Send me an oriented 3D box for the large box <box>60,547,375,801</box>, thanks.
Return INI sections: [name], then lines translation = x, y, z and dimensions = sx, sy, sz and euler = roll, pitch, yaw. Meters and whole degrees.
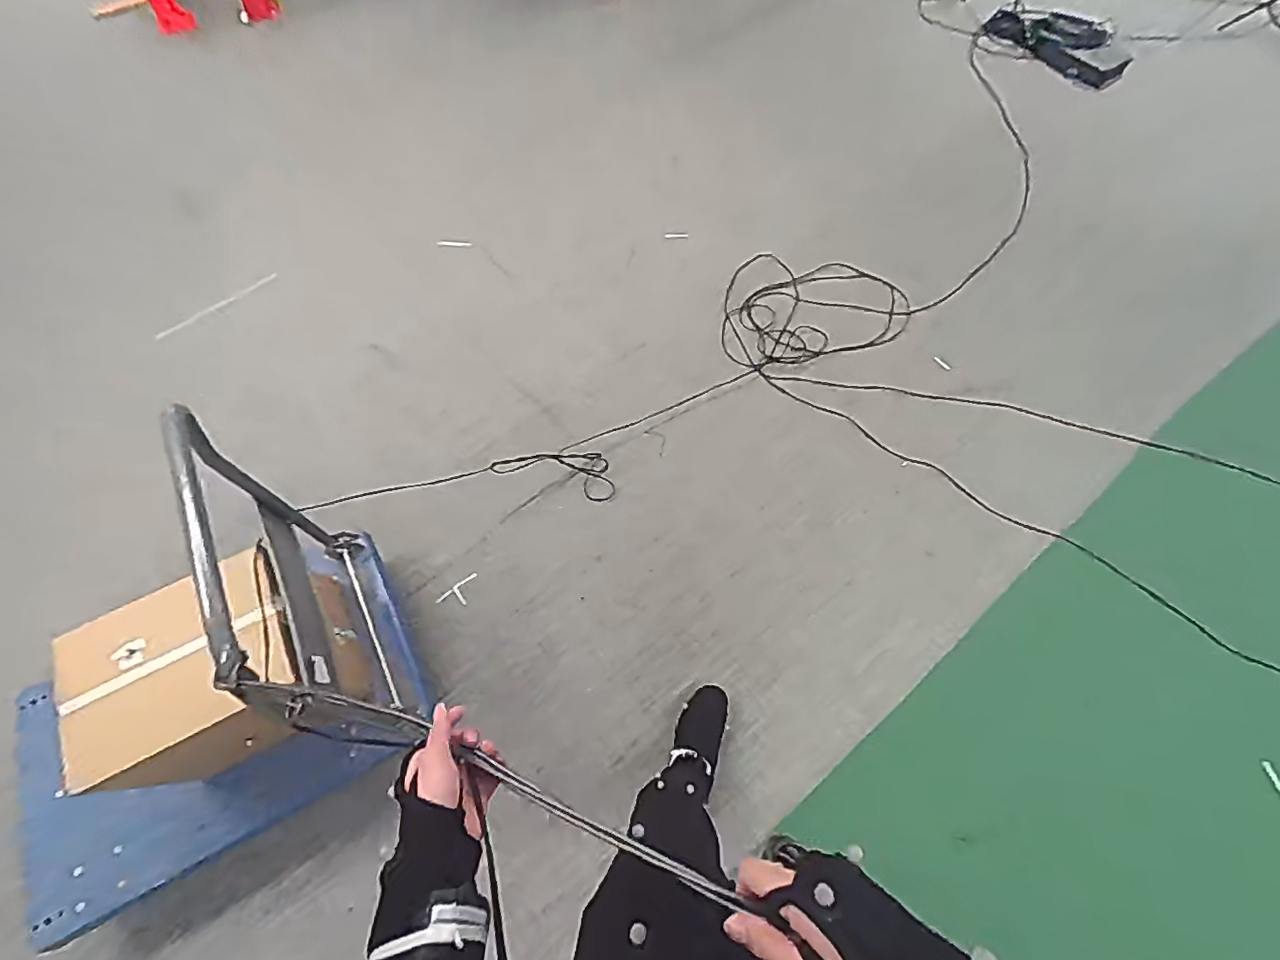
[large box]
translation = -0.868, 0.403, 1.157
dimensions = 0.408, 0.320, 0.320
euler = -27, 67, -10
